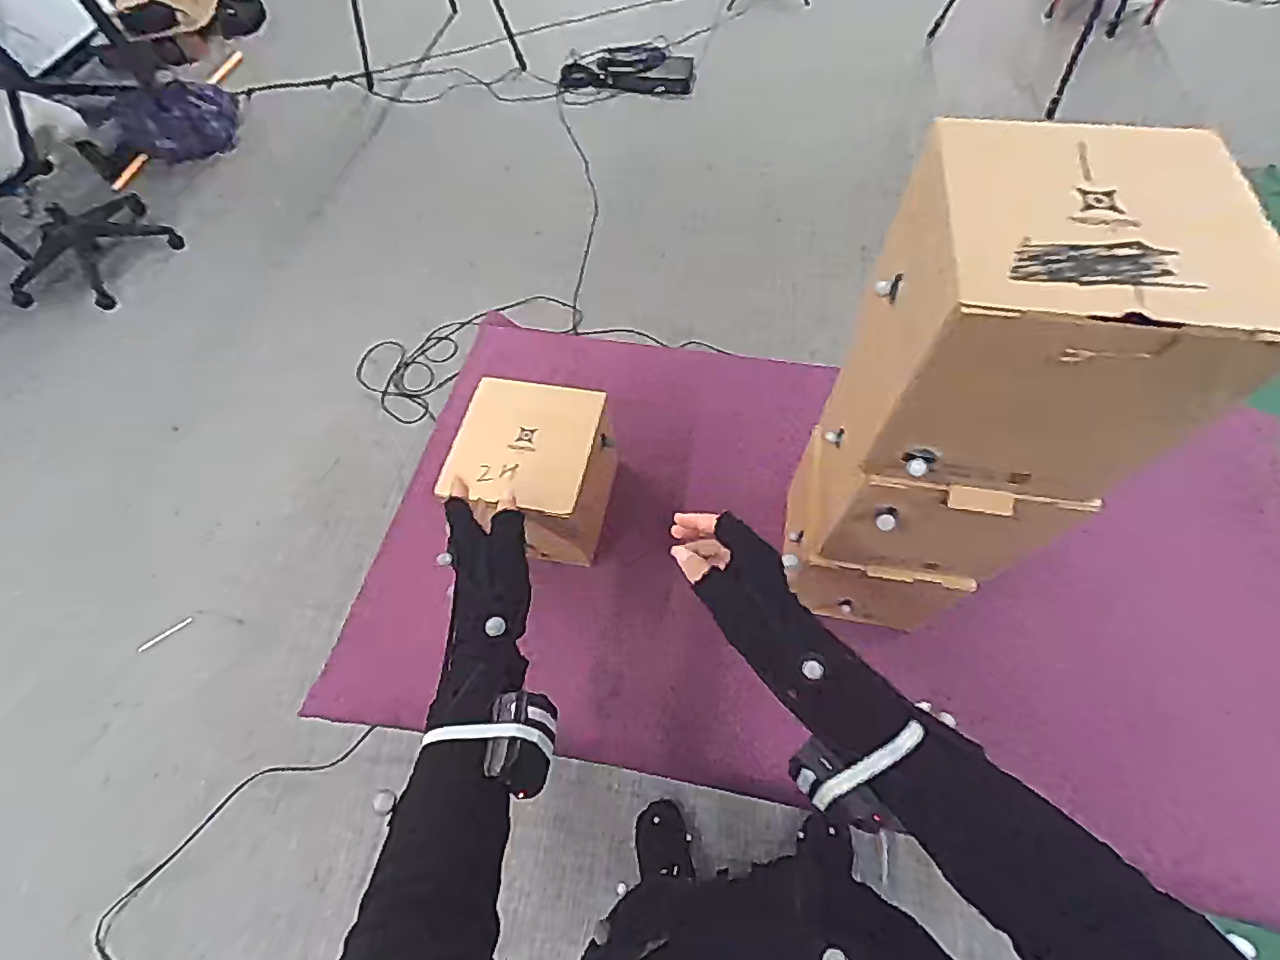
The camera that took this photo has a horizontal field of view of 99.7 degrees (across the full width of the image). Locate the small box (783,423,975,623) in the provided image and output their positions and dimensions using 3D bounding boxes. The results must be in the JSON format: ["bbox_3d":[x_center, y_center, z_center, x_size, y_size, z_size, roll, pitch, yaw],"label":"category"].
[{"bbox_3d":[0.274,0.057,0.655,0.168,0.176,0.179,8,64,9],"label":"small box"}]

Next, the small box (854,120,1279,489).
[{"bbox_3d":[0.255,-0.111,0.372,0.168,0.176,0.179,8,61,8],"label":"small box"}]

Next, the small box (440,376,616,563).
[{"bbox_3d":[-0.131,-0.010,0.719,0.168,0.176,0.179,9,63,9],"label":"small box"}]
